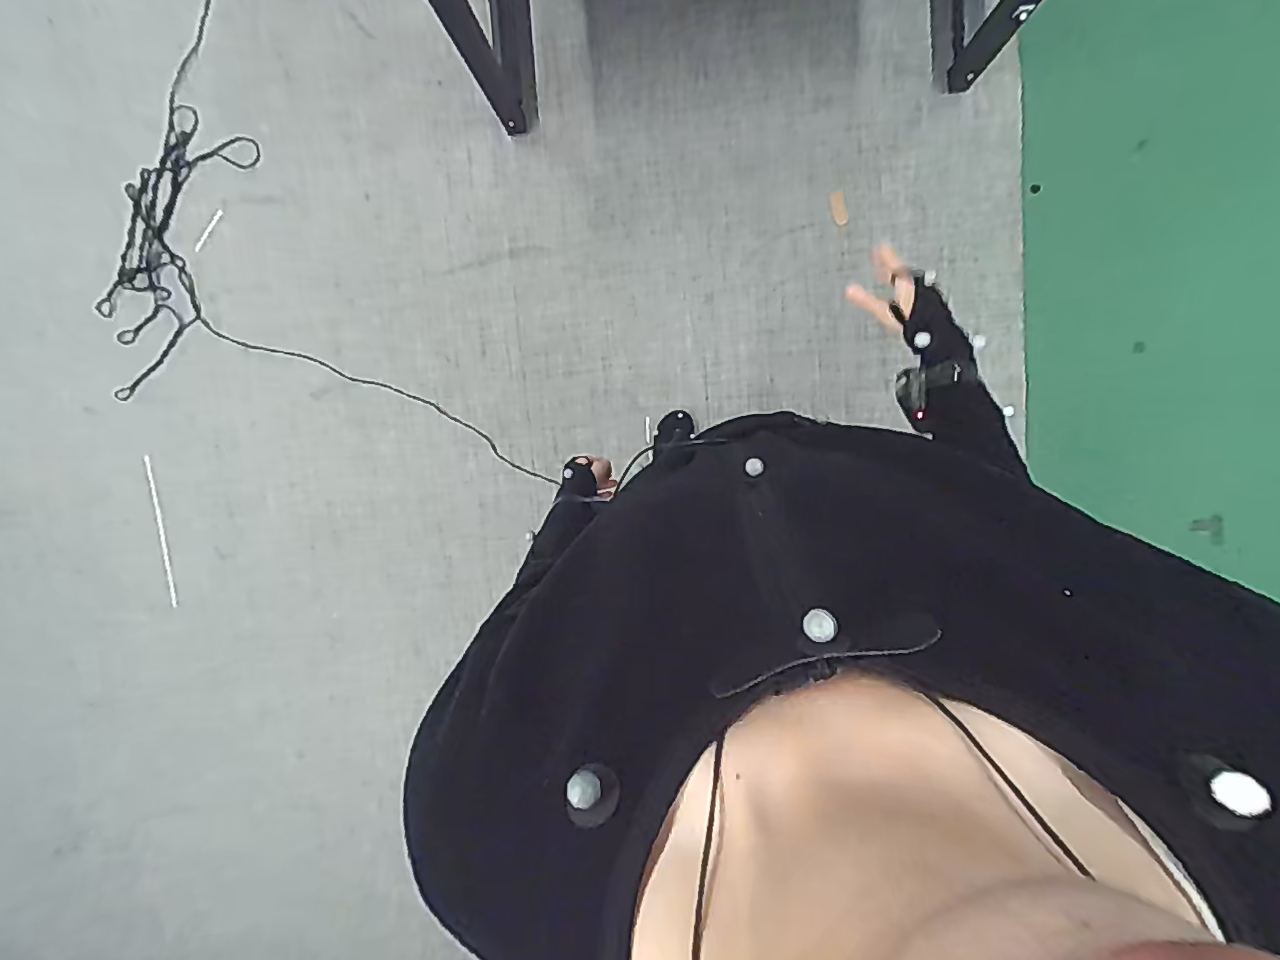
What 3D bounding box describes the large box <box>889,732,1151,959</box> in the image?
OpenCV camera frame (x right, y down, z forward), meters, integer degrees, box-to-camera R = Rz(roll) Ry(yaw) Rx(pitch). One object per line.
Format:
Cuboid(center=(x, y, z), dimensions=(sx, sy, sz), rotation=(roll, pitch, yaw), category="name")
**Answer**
Cuboid(center=(0.927, 0.910, 1.375), dimensions=(0.408, 0.320, 0.320), rotation=(-19, 95, 5), category="large box")
